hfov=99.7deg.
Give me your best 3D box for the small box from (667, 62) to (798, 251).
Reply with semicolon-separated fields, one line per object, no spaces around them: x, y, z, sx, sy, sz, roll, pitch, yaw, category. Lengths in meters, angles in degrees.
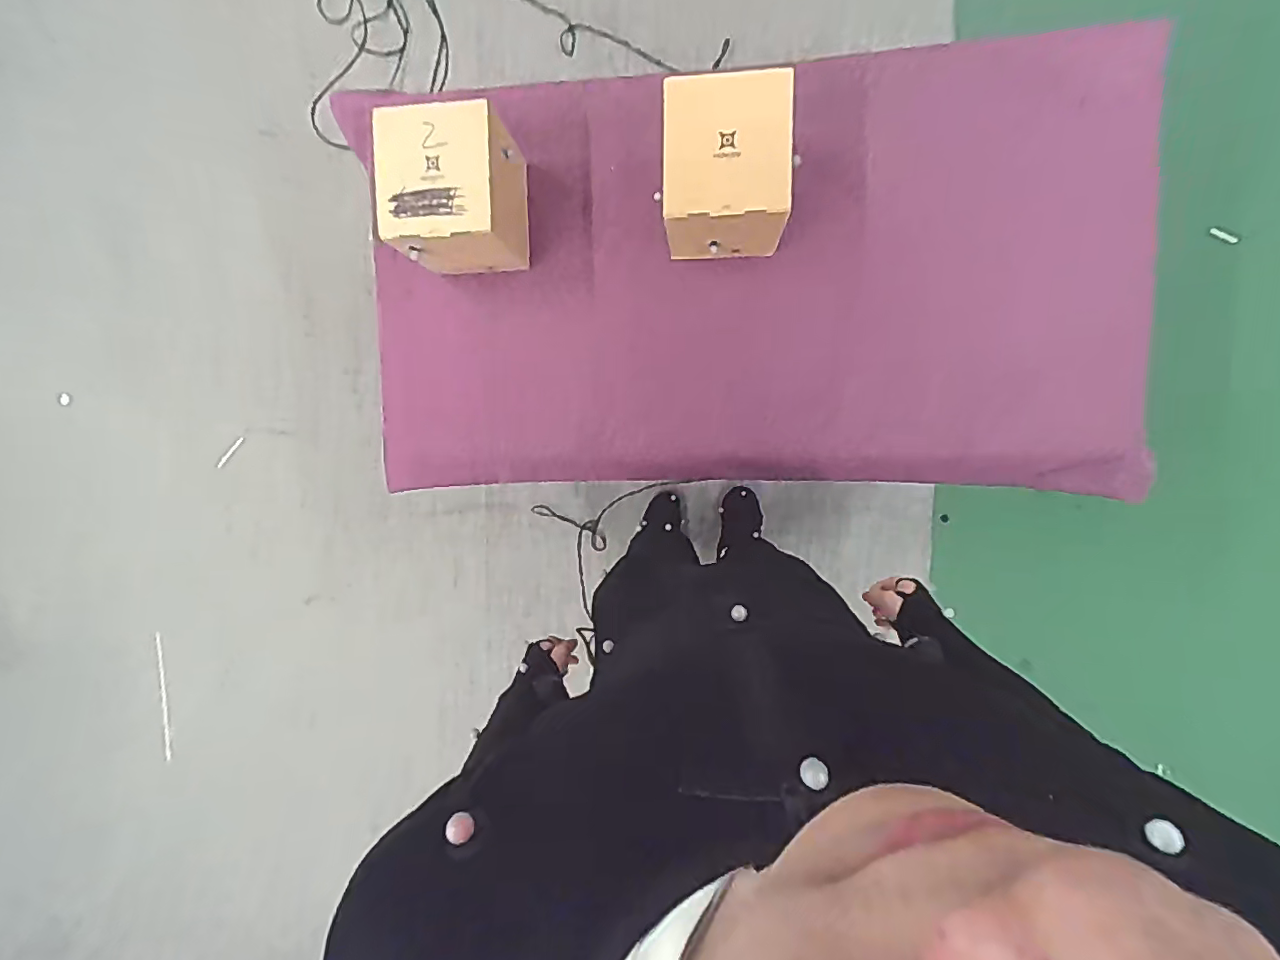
0.123;-0.444;0.769;0.168;0.176;0.179;0;96;6;small box
